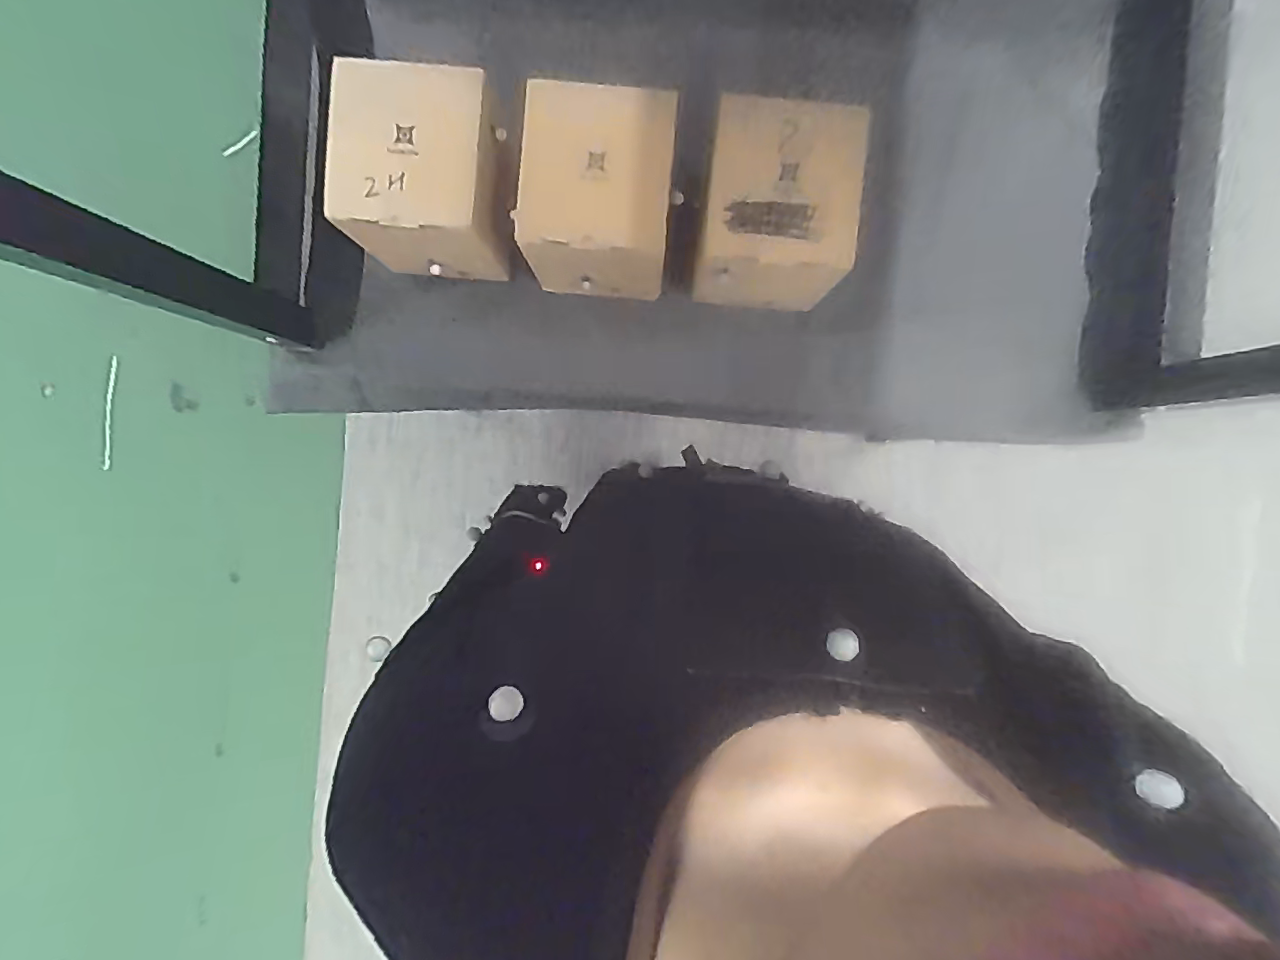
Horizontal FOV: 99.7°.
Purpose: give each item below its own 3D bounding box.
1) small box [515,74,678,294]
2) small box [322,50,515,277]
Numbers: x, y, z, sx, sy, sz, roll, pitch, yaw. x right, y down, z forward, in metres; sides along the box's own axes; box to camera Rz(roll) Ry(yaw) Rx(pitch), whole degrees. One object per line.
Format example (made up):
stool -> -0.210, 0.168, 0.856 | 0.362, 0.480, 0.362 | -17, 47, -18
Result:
small box -> -0.050, -0.349, 0.668 | 0.168, 0.176, 0.179 | 5, 93, -1
small box -> -0.256, -0.372, 0.665 | 0.168, 0.176, 0.179 | 5, 92, 0
